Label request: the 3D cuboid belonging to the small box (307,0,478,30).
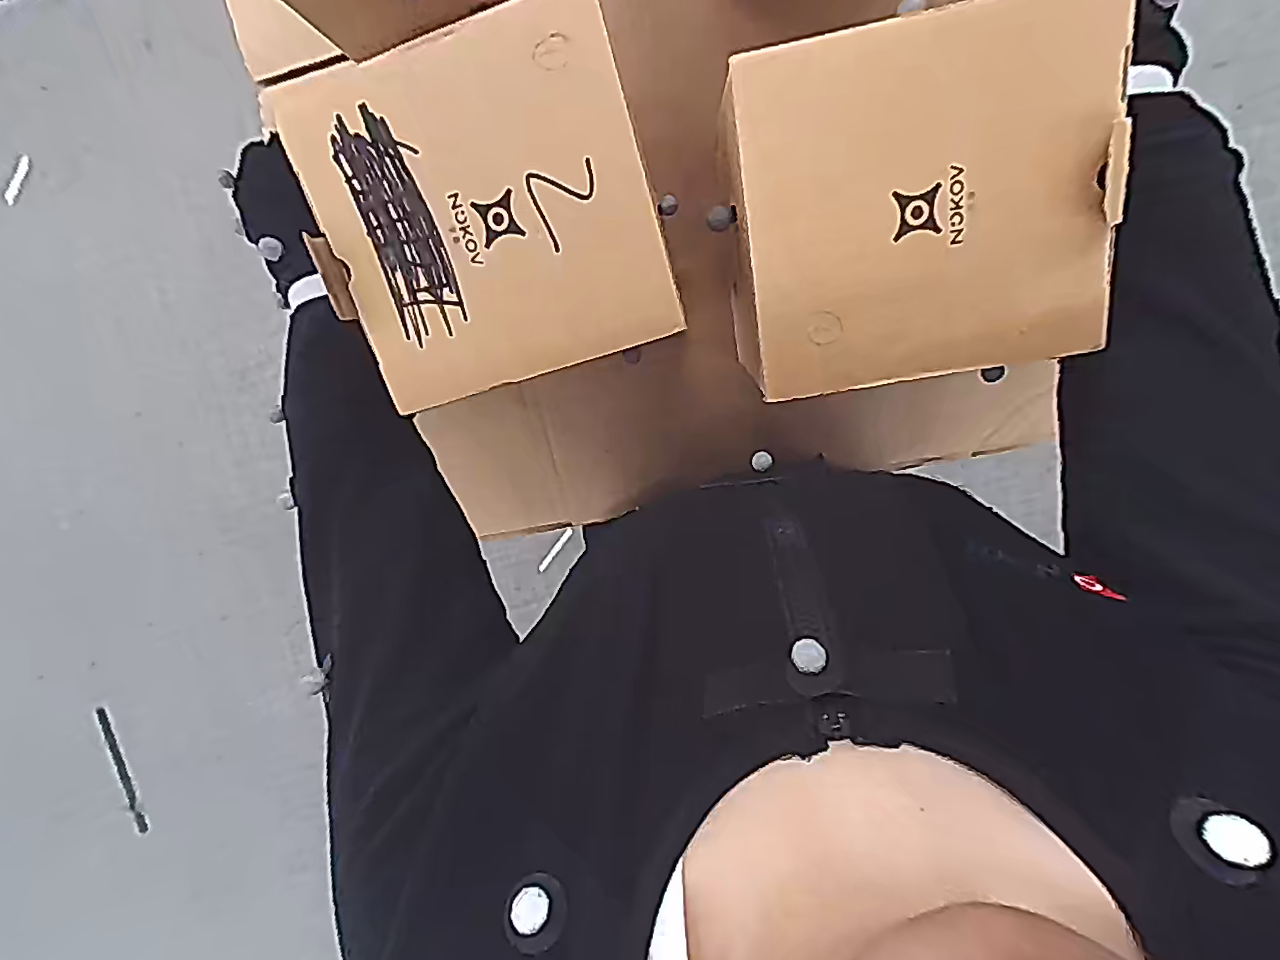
[{"bbox_3d":[-0.162,-0.397,0.298,0.168,0.176,0.179,-11,103,8],"label":"small box"}]
